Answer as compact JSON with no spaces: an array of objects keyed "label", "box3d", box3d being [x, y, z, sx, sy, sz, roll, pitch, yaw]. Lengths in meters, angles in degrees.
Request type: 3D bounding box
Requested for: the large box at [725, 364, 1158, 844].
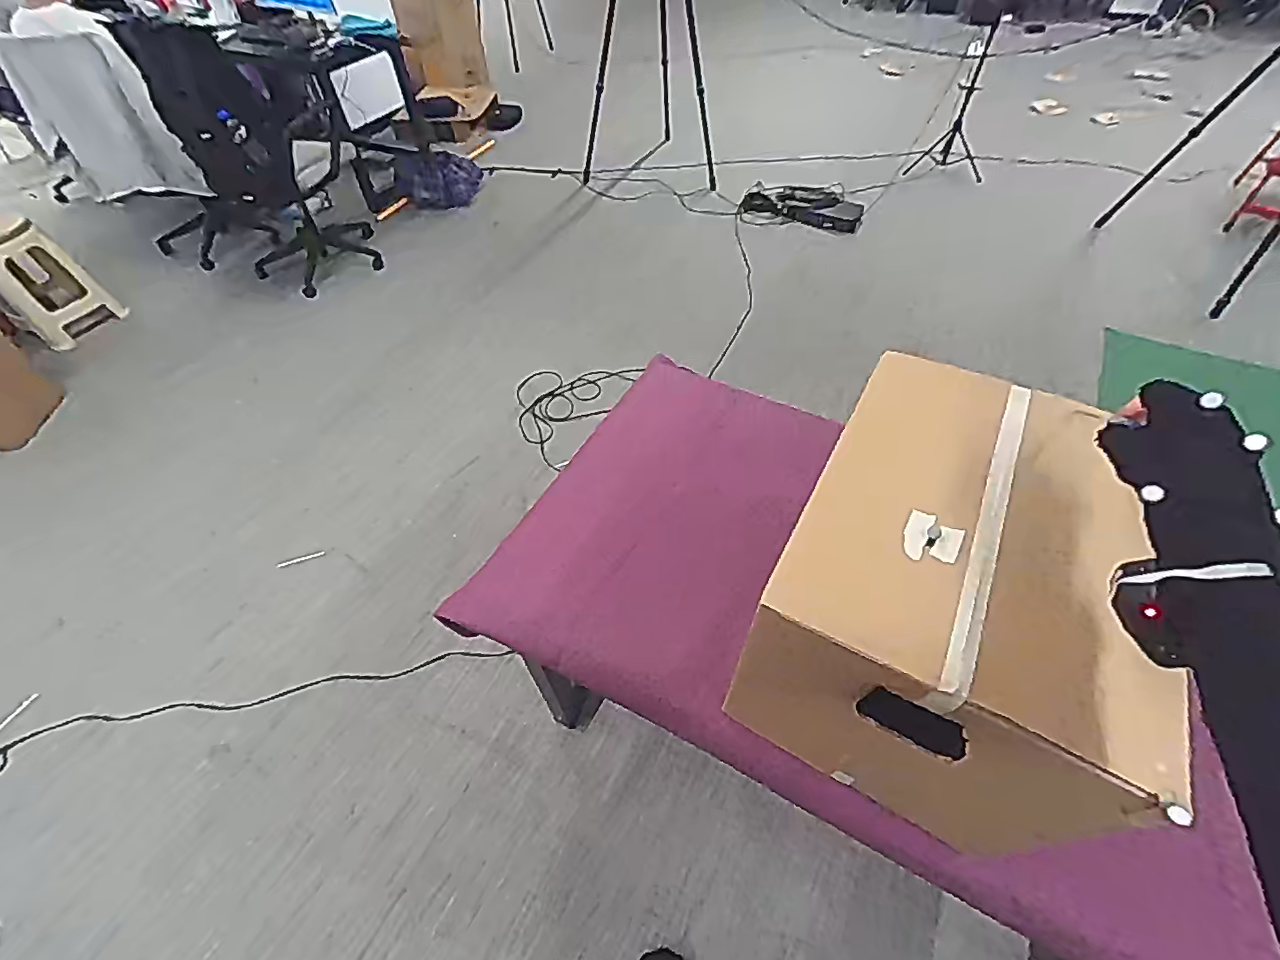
[{"label":"large box","box3d":[0.337,0.135,0.653,0.320,0.320,0.408,24,56,20]}]
